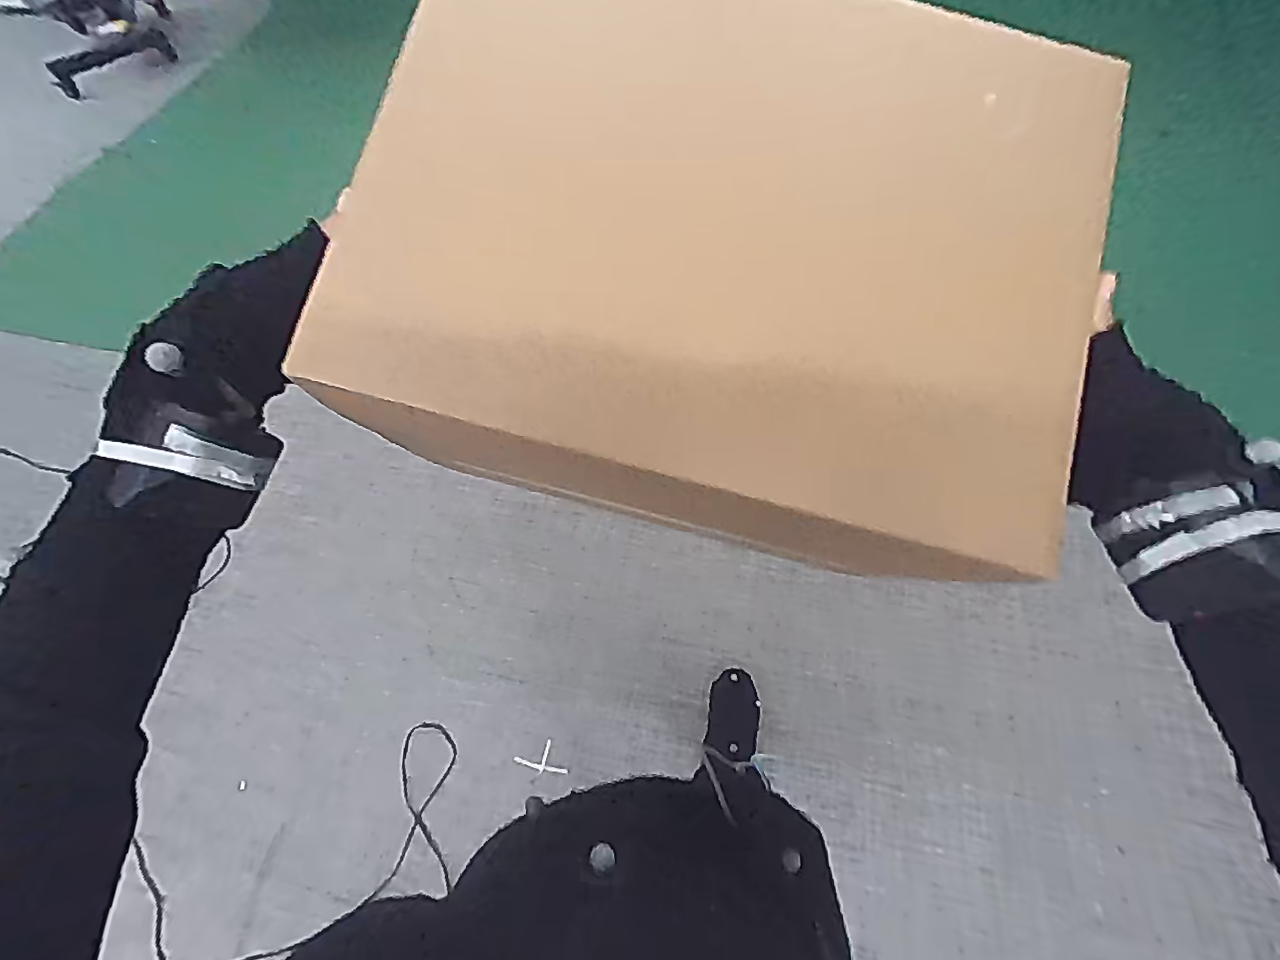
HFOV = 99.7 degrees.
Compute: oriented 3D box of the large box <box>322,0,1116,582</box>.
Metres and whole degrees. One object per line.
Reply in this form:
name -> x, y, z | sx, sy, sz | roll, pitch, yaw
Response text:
large box -> 0.053, -0.125, 0.447 | 0.408, 0.320, 0.320 | 16, 81, 0
